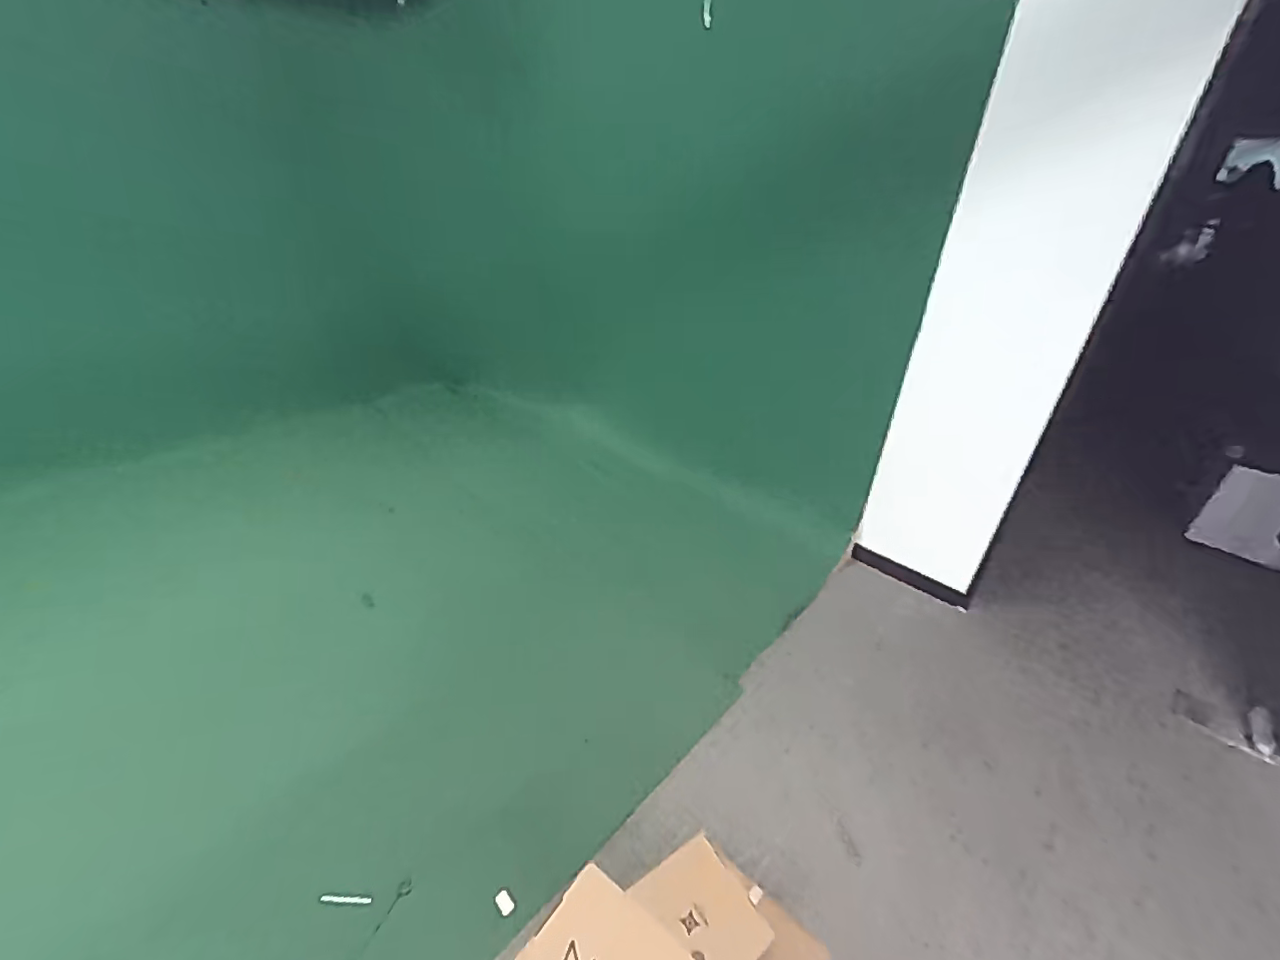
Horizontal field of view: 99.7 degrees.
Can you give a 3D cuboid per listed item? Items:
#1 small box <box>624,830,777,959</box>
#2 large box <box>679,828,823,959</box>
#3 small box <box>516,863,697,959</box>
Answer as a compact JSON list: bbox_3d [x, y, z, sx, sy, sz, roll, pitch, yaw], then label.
[{"bbox_3d":[0.073,0.679,0.802,0.179,0.176,0.168,-19,37,-28],"label":"small box"},{"bbox_3d":[0.096,1.011,1.039,0.320,0.320,0.408,27,39,33],"label":"large box"},{"bbox_3d":[-0.020,0.431,0.379,0.179,0.176,0.168,25,42,31],"label":"small box"}]
